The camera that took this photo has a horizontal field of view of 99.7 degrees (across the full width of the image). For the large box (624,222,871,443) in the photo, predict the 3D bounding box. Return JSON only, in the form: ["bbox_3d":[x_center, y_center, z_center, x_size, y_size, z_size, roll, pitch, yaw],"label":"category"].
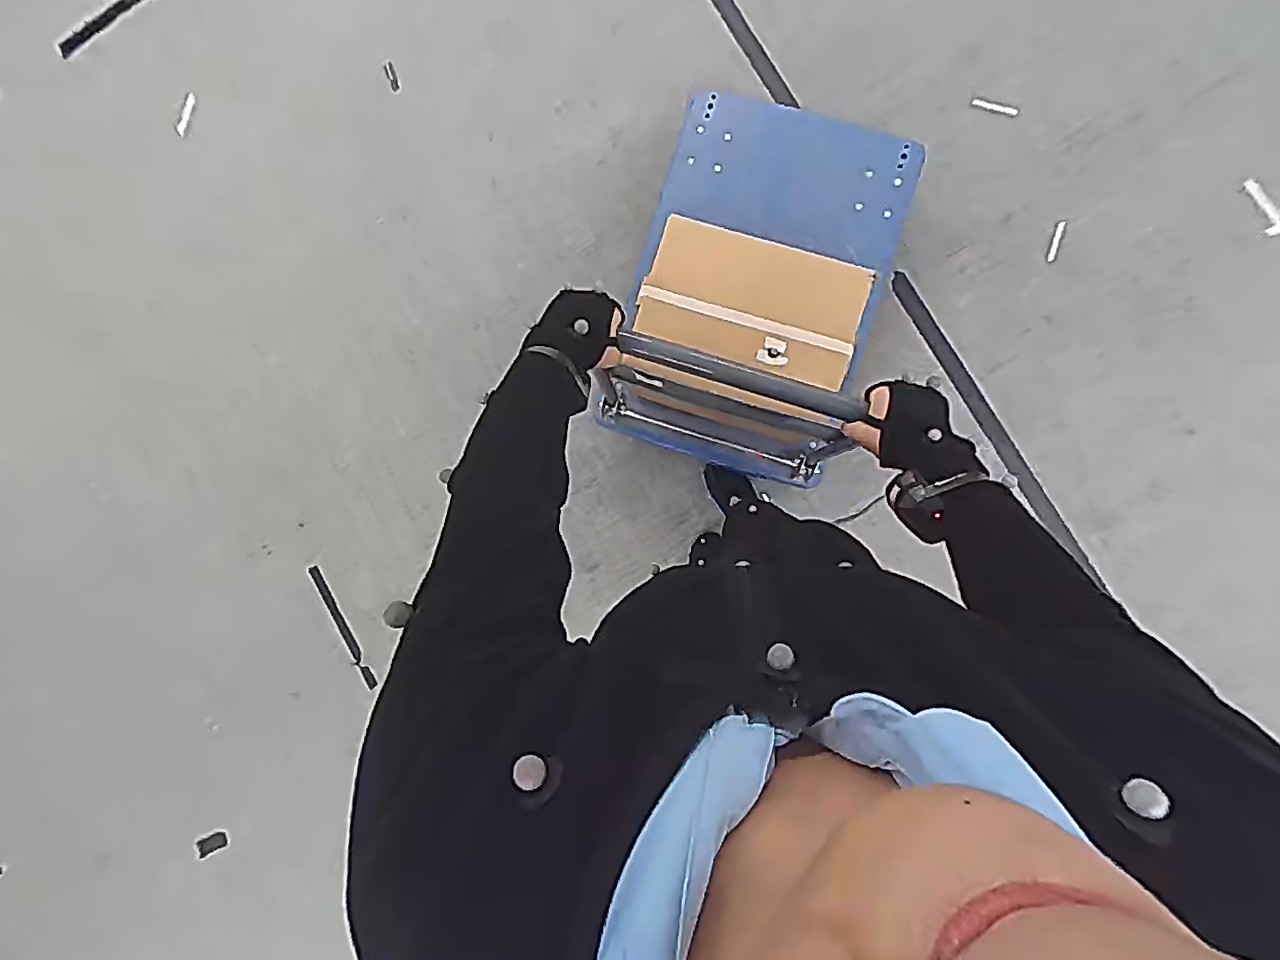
[{"bbox_3d":[0.207,-0.292,1.170,0.408,0.320,0.320,18,91,4],"label":"large box"}]
